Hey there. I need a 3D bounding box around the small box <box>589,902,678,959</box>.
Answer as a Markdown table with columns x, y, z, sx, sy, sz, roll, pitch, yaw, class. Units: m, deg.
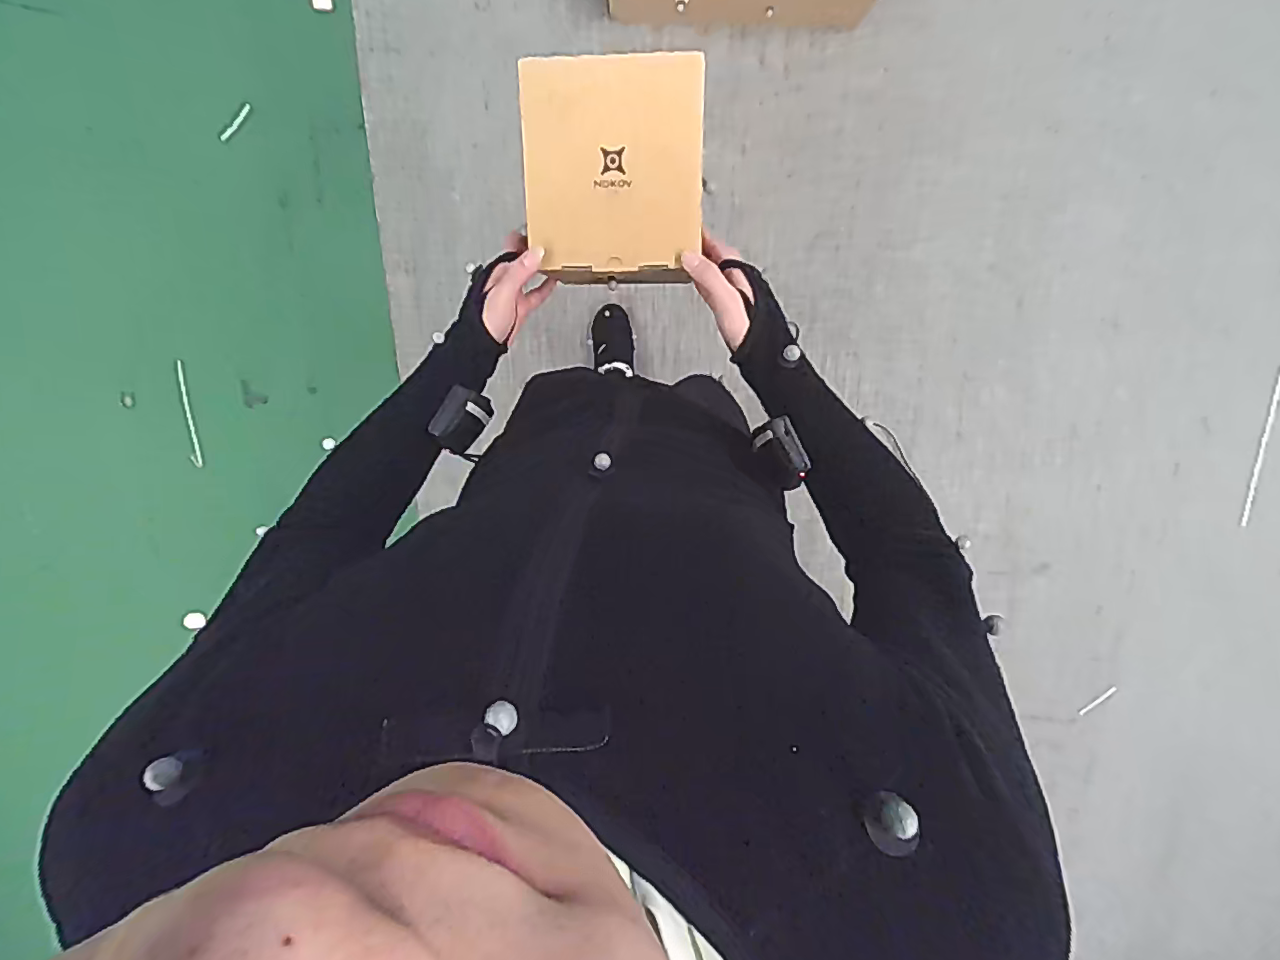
| x | y | z | sx | sy | sz | roll | pitch | yaw | class |
| --- | --- | --- | --- | --- | --- | --- | --- | --- | --- |
| -0.008 | 0.966 | 1.044 | 0.168 | 0.176 | 0.179 | -5 | 104 | 1 | small box |
